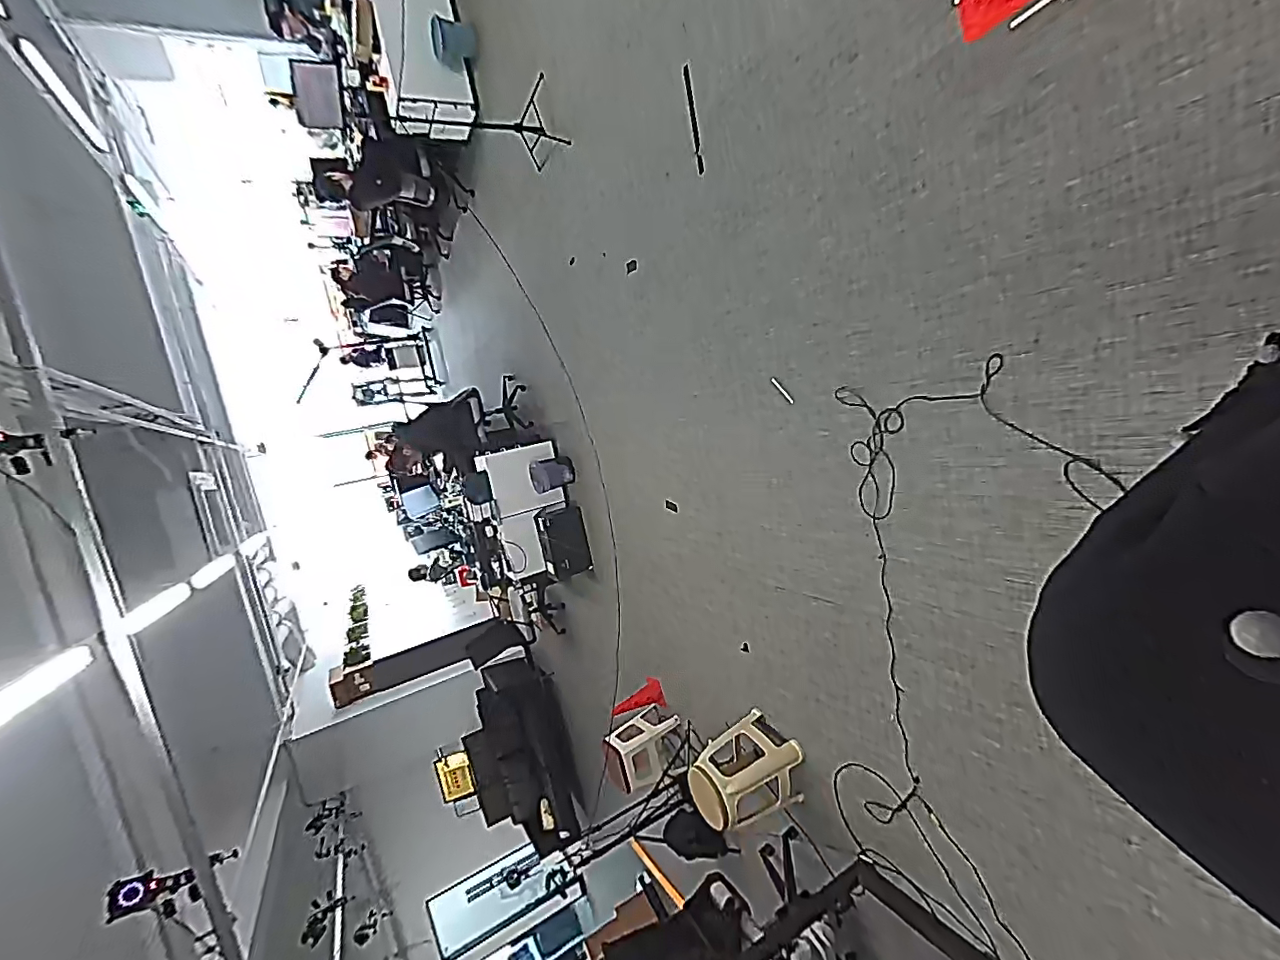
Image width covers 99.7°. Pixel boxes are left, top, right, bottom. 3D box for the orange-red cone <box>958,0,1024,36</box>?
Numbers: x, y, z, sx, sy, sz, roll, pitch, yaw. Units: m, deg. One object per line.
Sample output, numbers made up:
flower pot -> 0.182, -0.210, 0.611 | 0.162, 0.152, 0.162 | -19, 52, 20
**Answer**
orange-red cone -> 0.642, -1.086, 1.095 | 0.198, 0.360, 0.199 | 1, 103, 62
